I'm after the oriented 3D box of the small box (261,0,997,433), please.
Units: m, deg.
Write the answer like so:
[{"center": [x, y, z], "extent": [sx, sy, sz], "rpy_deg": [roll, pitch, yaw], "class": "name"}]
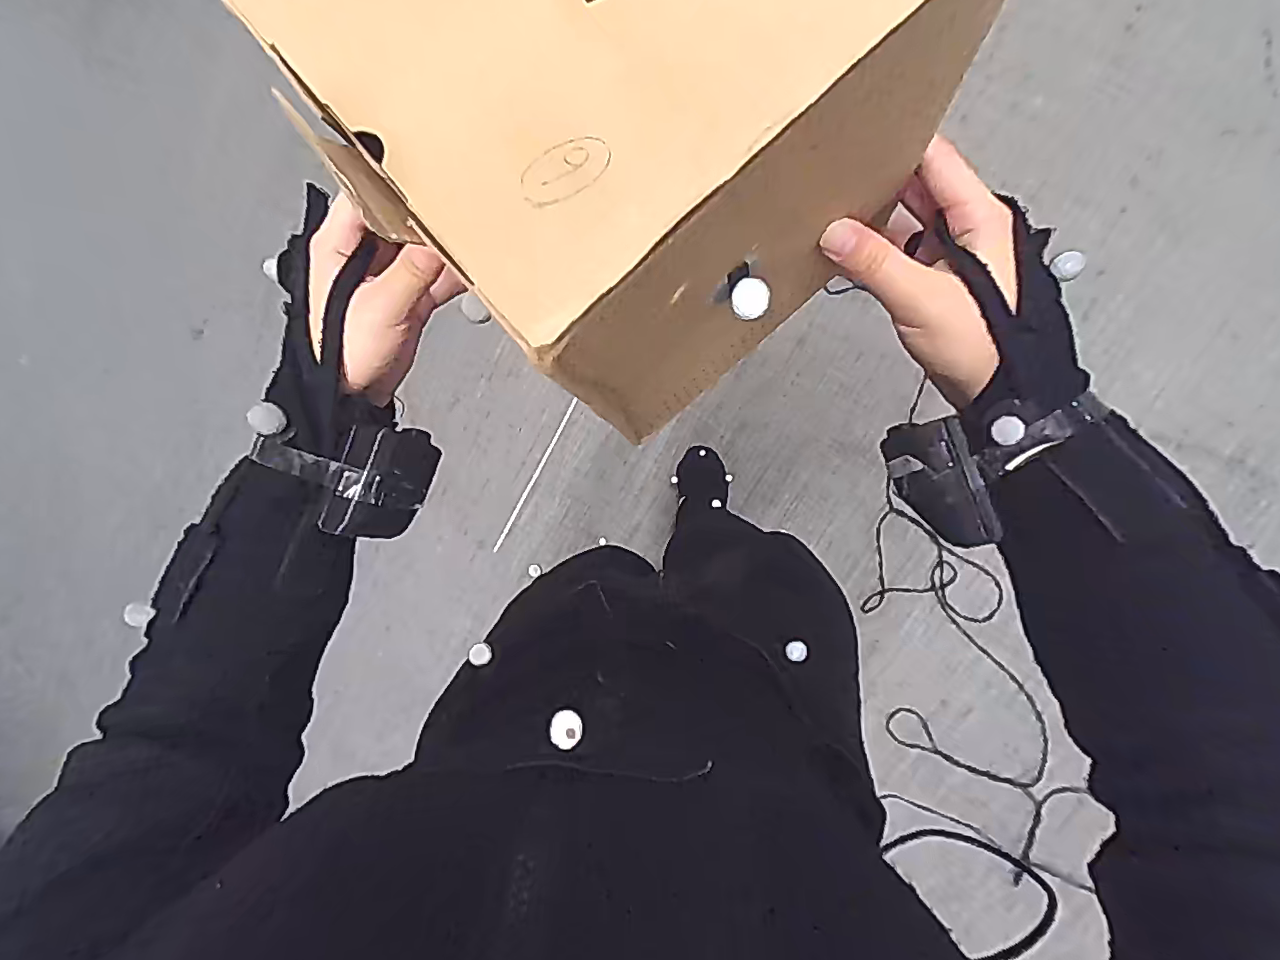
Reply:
[{"center": [0.003, -0.140, 0.235], "extent": [0.179, 0.176, 0.168], "rpy_deg": [-40, 81, 5], "class": "small box"}]
